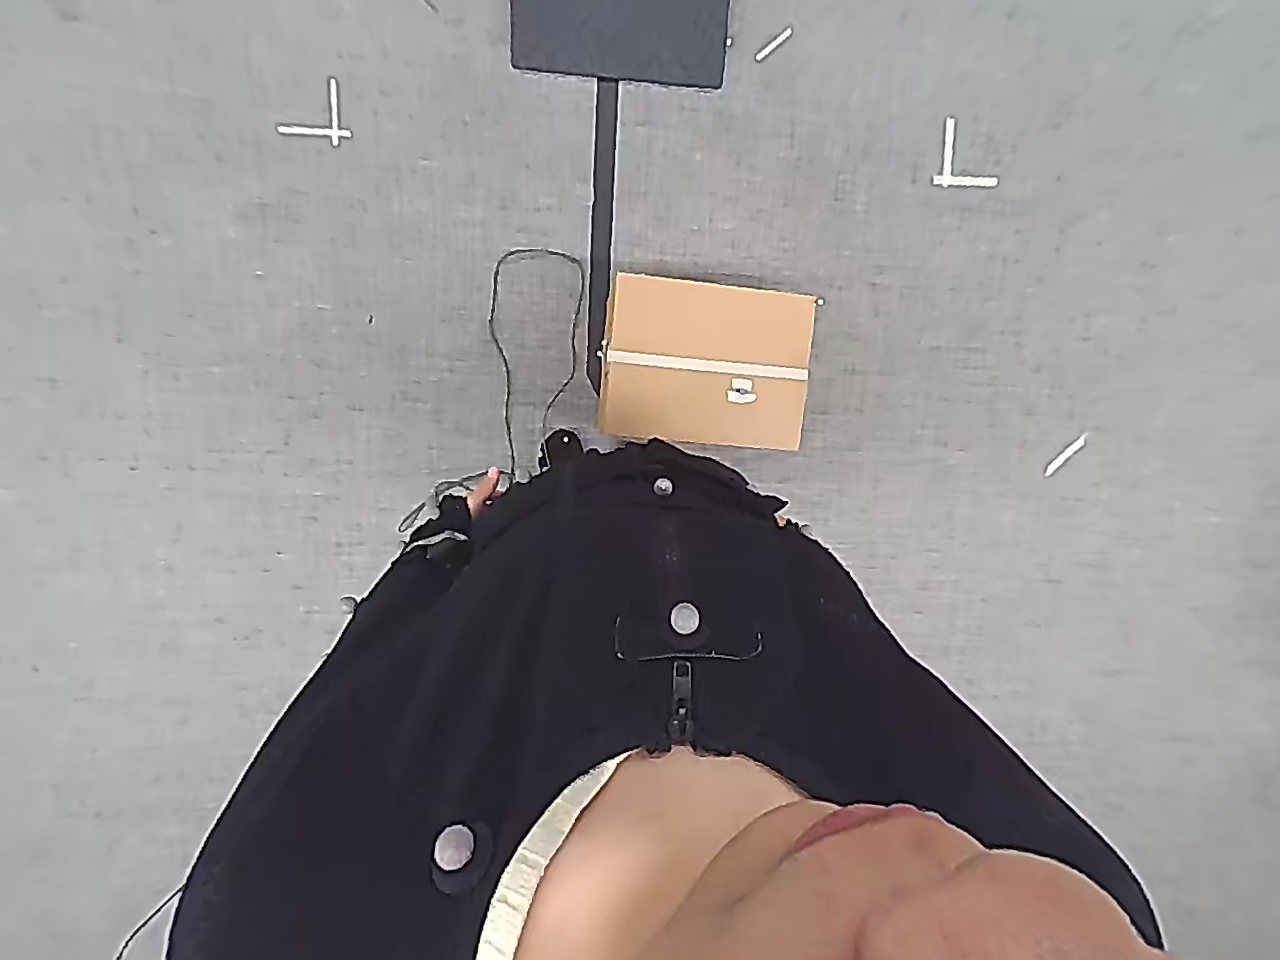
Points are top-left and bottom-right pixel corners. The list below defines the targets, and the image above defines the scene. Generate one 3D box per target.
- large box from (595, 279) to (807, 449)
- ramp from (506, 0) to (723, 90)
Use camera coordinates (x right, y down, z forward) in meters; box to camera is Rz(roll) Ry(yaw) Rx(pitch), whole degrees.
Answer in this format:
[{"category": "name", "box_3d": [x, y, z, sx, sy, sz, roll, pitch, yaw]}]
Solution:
[{"category": "large box", "box_3d": [0.110, -0.243, 1.226, 0.408, 0.320, 0.320, 4, 98, -9]}, {"category": "ramp", "box_3d": [-0.035, -1.404, 1.106, 0.509, 0.206, 0.991, -1, 99, -8]}]
